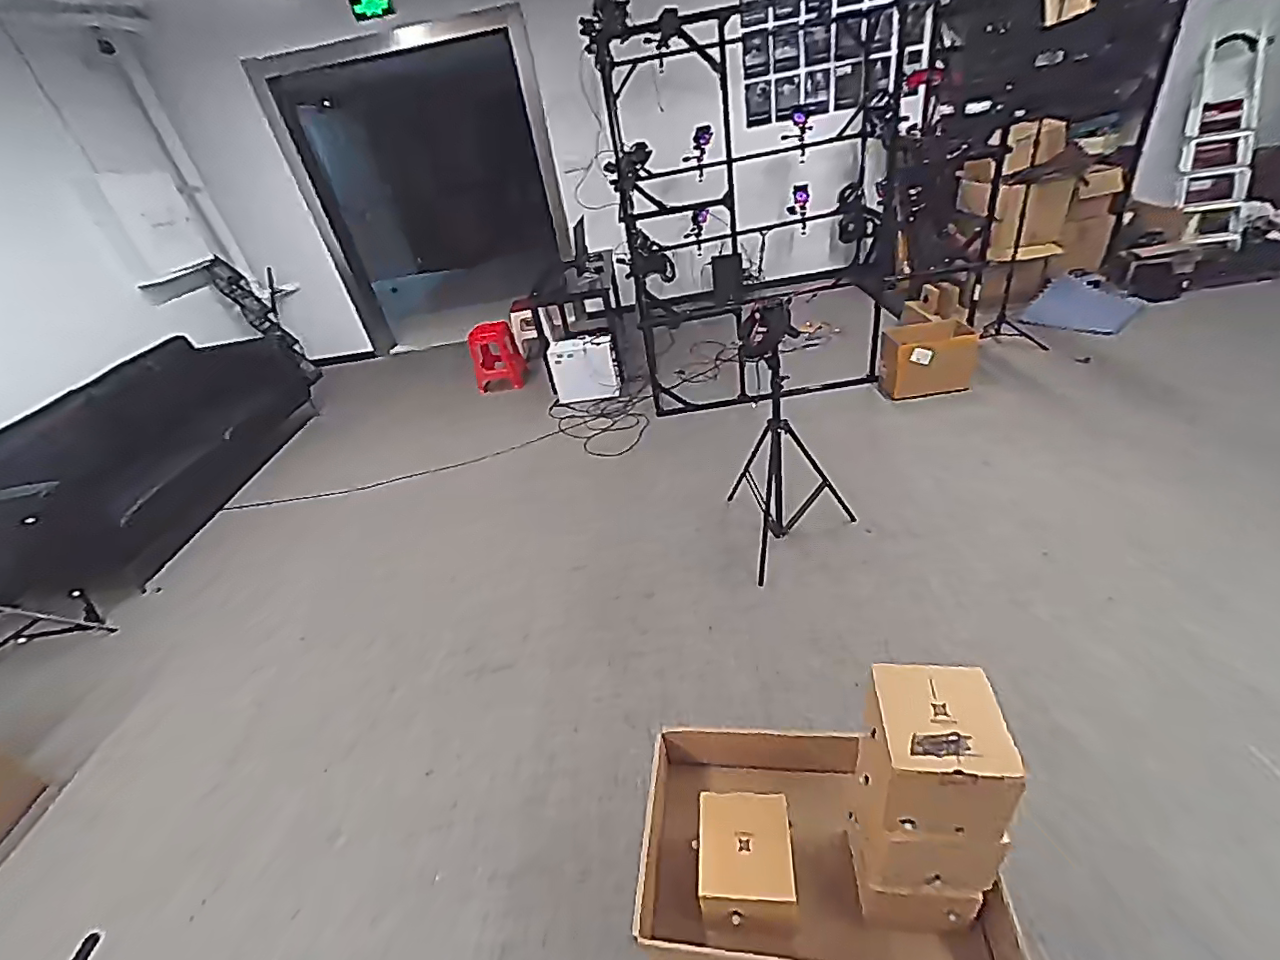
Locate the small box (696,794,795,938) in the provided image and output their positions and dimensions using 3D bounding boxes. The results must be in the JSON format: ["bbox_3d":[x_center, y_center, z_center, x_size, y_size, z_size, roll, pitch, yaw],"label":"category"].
[{"bbox_3d":[0.199,0.723,1.016,0.168,0.176,0.179,-4,33,10],"label":"small box"}]

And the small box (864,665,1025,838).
[{"bbox_3d":[0.442,0.407,0.816,0.168,0.176,0.179,-2,33,13],"label":"small box"}]

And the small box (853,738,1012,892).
[{"bbox_3d":[0.466,0.551,0.893,0.179,0.176,0.168,-4,33,9],"label":"small box"}]
